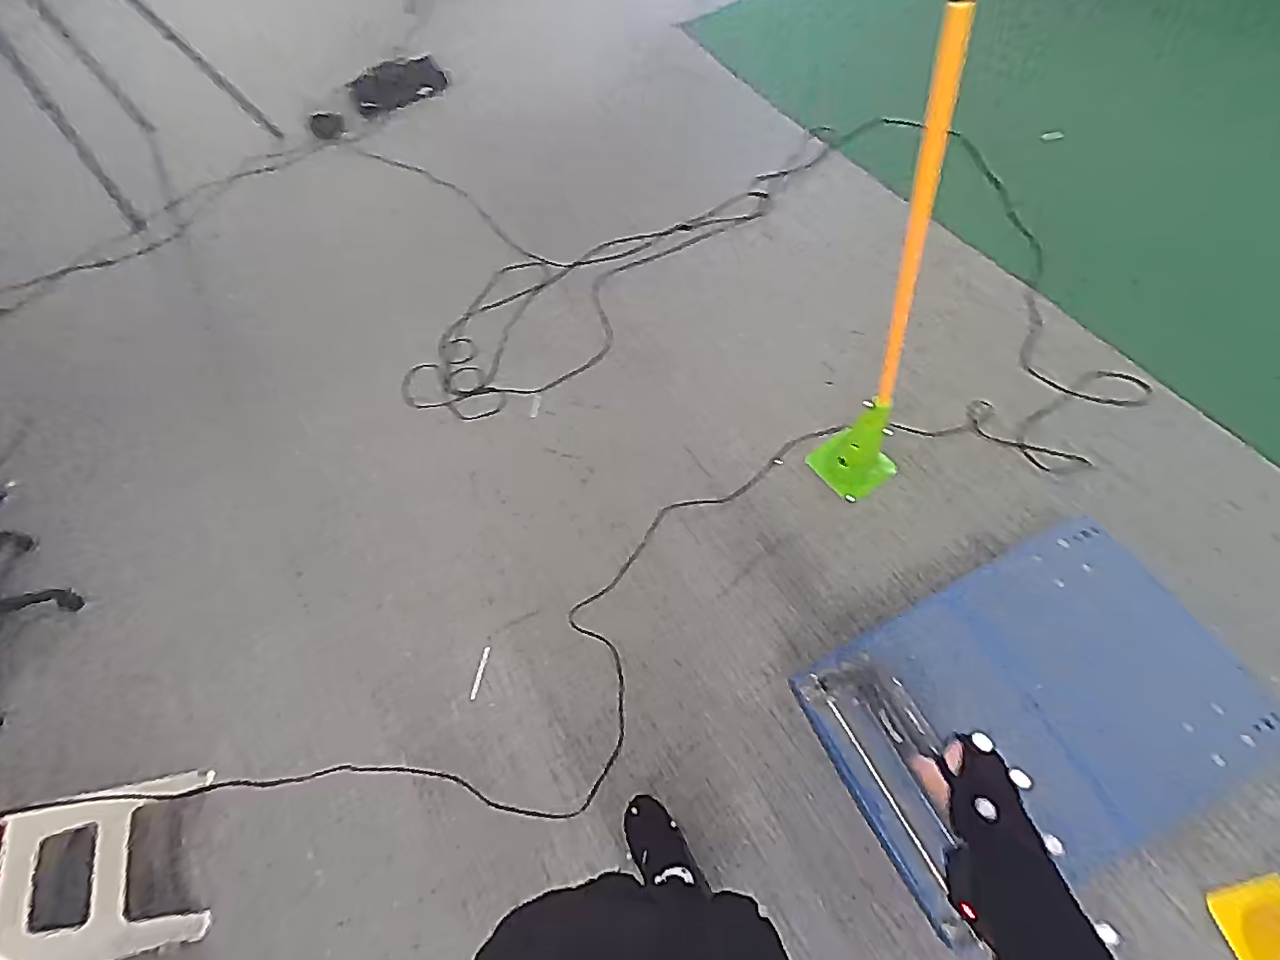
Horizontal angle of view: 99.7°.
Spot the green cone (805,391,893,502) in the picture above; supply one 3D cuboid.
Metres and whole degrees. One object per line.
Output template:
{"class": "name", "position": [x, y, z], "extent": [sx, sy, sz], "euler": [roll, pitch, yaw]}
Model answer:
{"class": "green cone", "position": [0.617, -0.126, 1.504], "extent": [0.200, 0.368, 0.202], "euler": [-35, 64, -10]}
